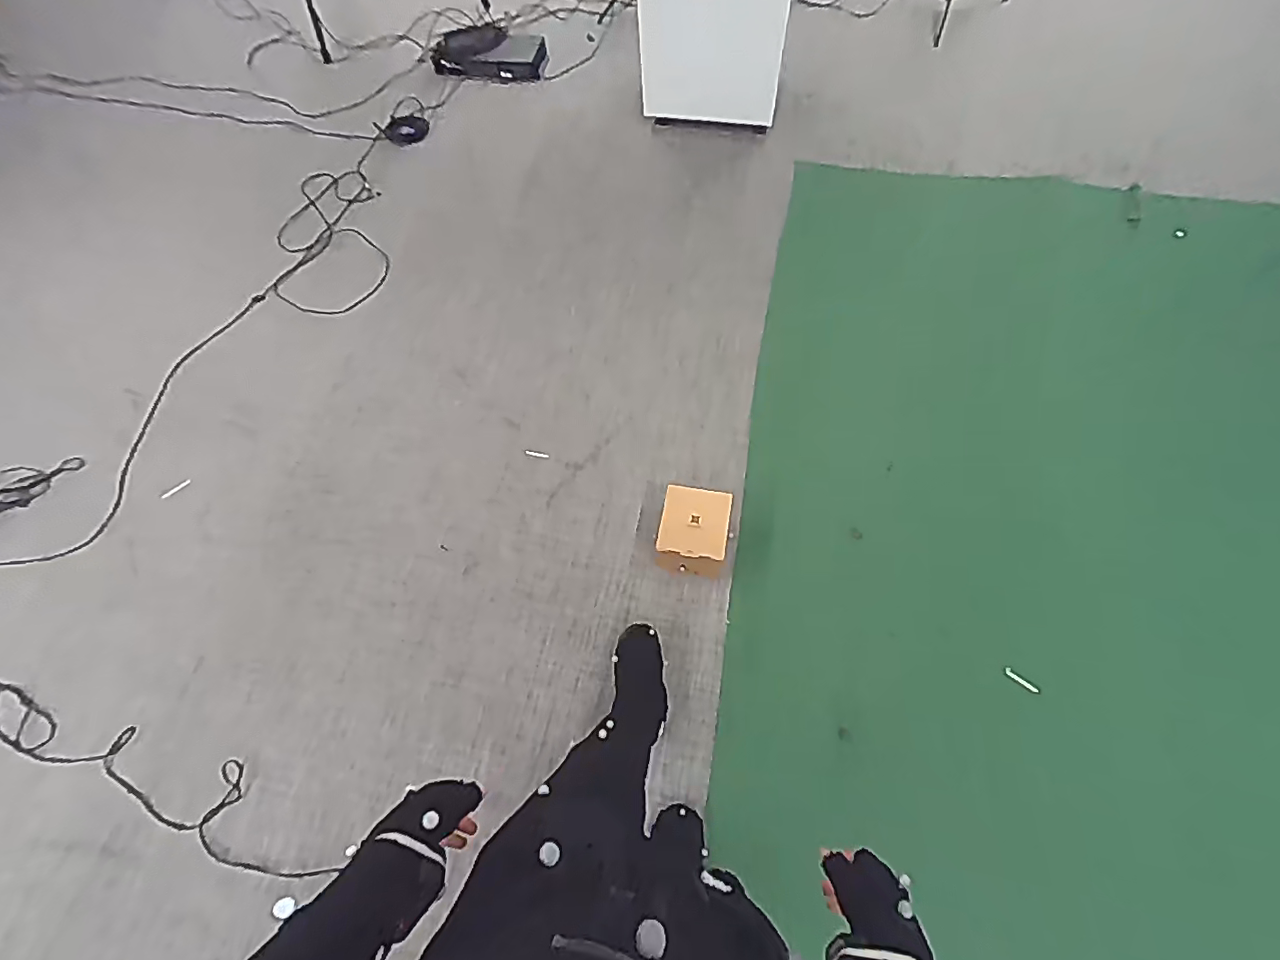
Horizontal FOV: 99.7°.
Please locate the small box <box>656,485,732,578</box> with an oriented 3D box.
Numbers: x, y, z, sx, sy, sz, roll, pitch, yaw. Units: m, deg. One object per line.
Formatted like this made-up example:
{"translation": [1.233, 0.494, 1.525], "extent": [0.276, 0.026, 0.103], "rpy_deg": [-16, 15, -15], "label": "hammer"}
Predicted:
{"translation": [0.137, 0.136, 1.391], "extent": [0.168, 0.176, 0.179], "rpy_deg": [8, 66, 8], "label": "small box"}
